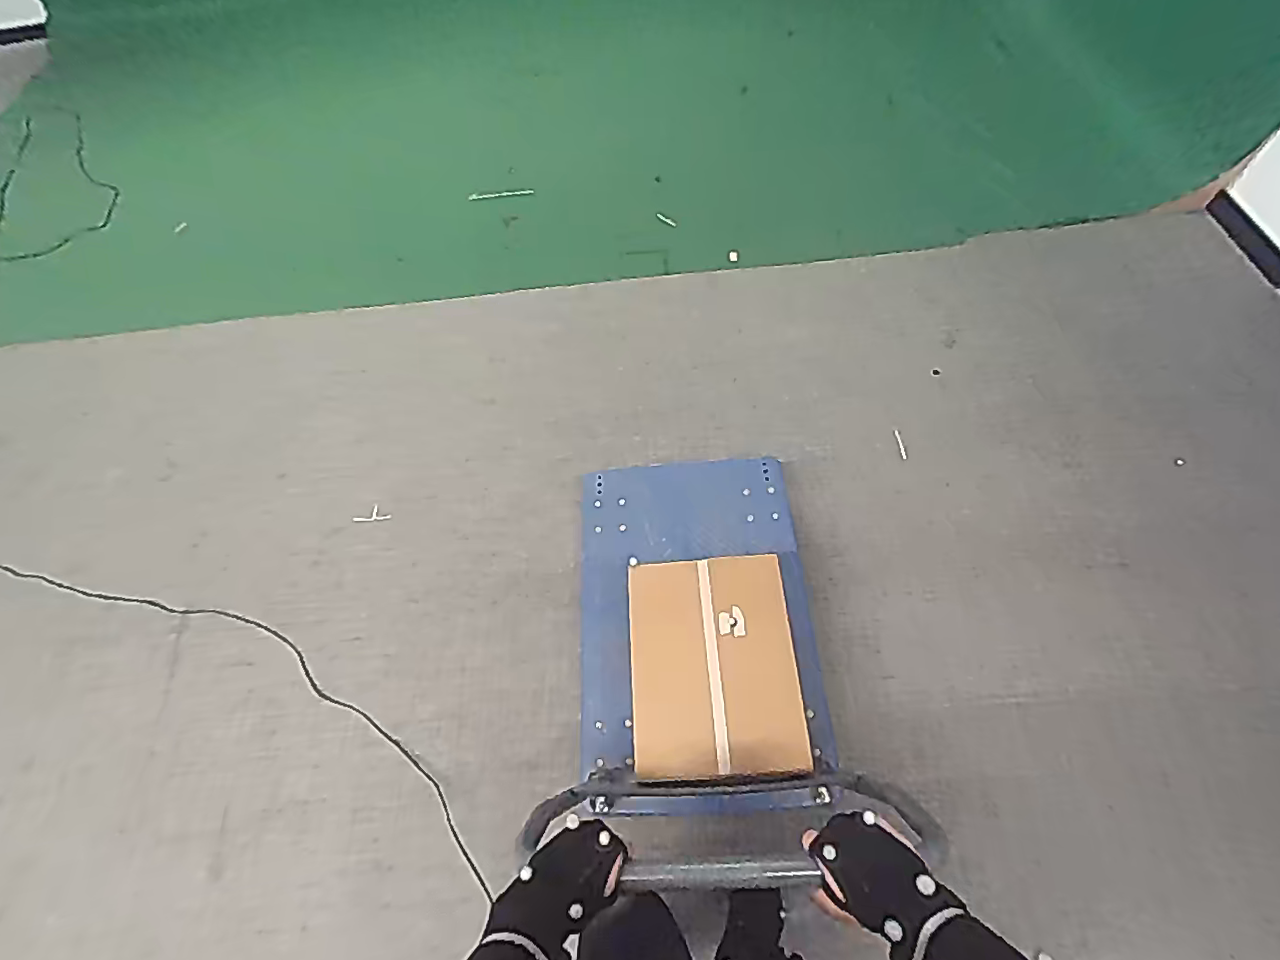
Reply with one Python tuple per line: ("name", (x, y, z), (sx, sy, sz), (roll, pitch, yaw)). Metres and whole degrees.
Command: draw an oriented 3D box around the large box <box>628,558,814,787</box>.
("large box", (0.155, 0.423, 1.167), (0.320, 0.320, 0.408), (-5, 61, 3))
